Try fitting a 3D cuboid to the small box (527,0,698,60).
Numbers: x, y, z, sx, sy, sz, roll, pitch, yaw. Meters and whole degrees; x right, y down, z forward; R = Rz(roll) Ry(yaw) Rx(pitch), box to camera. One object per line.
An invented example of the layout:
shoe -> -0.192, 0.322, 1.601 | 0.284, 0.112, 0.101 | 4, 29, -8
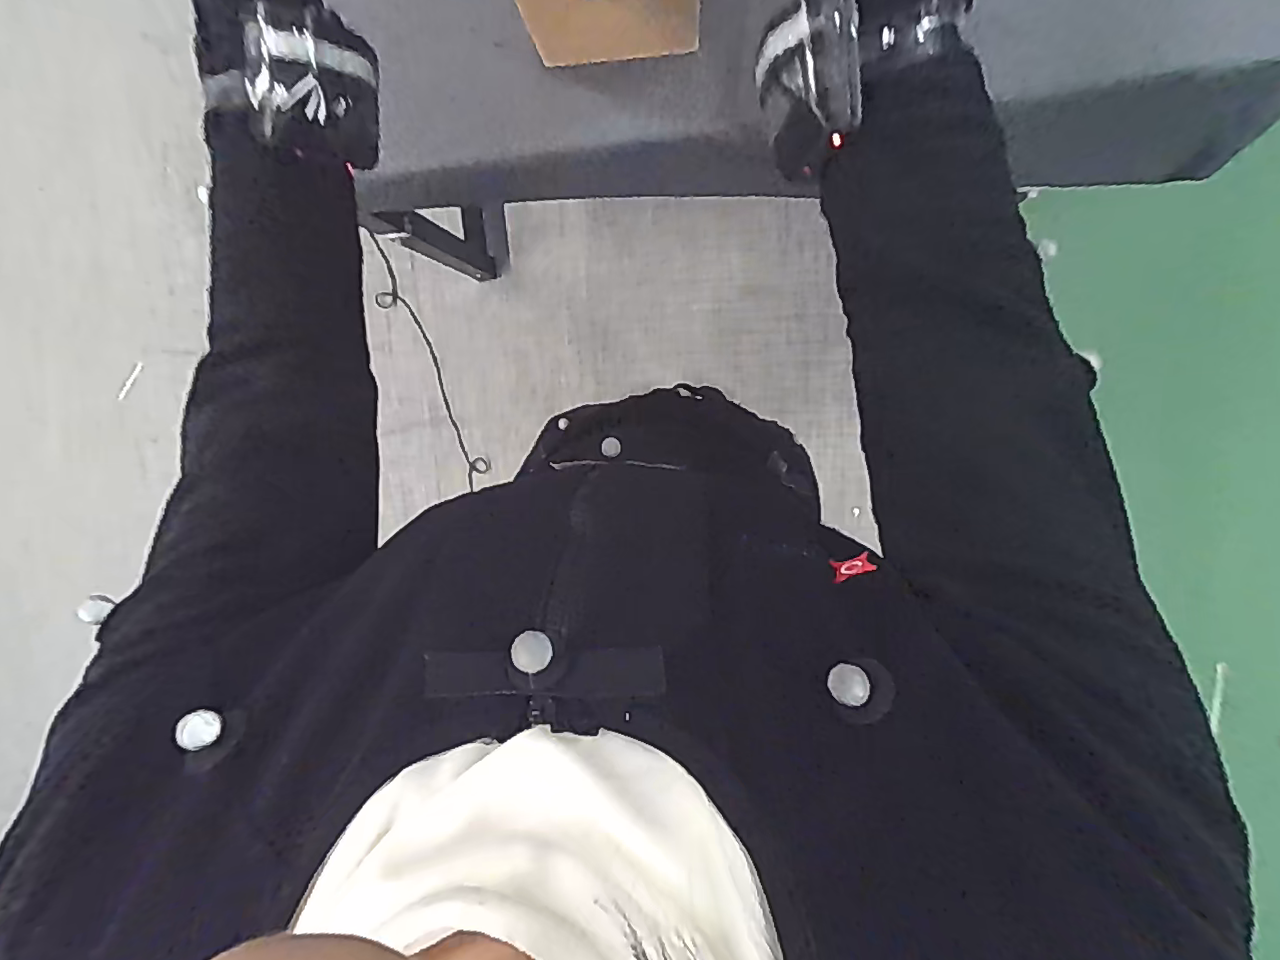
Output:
small box -> -0.032, -0.554, 0.533 | 0.179, 0.176, 0.168 | -1, 101, 6
